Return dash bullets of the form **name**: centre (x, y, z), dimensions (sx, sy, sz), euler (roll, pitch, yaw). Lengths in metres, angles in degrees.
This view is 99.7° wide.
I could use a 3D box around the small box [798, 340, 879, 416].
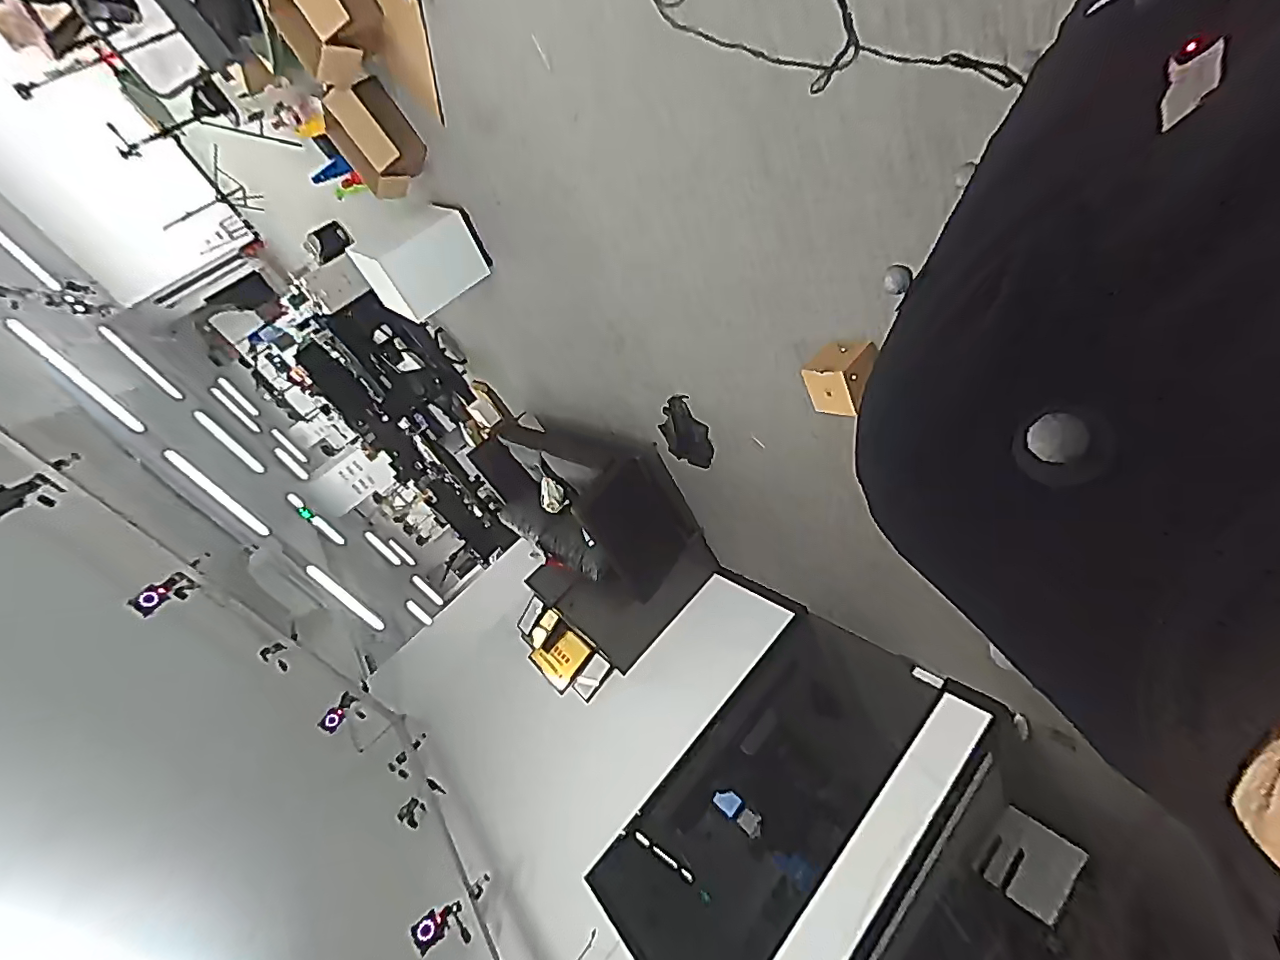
- **small box**: centre (0.661, -0.339, 1.785), dimensions (0.168, 0.176, 0.179), euler (20, 148, 54)
